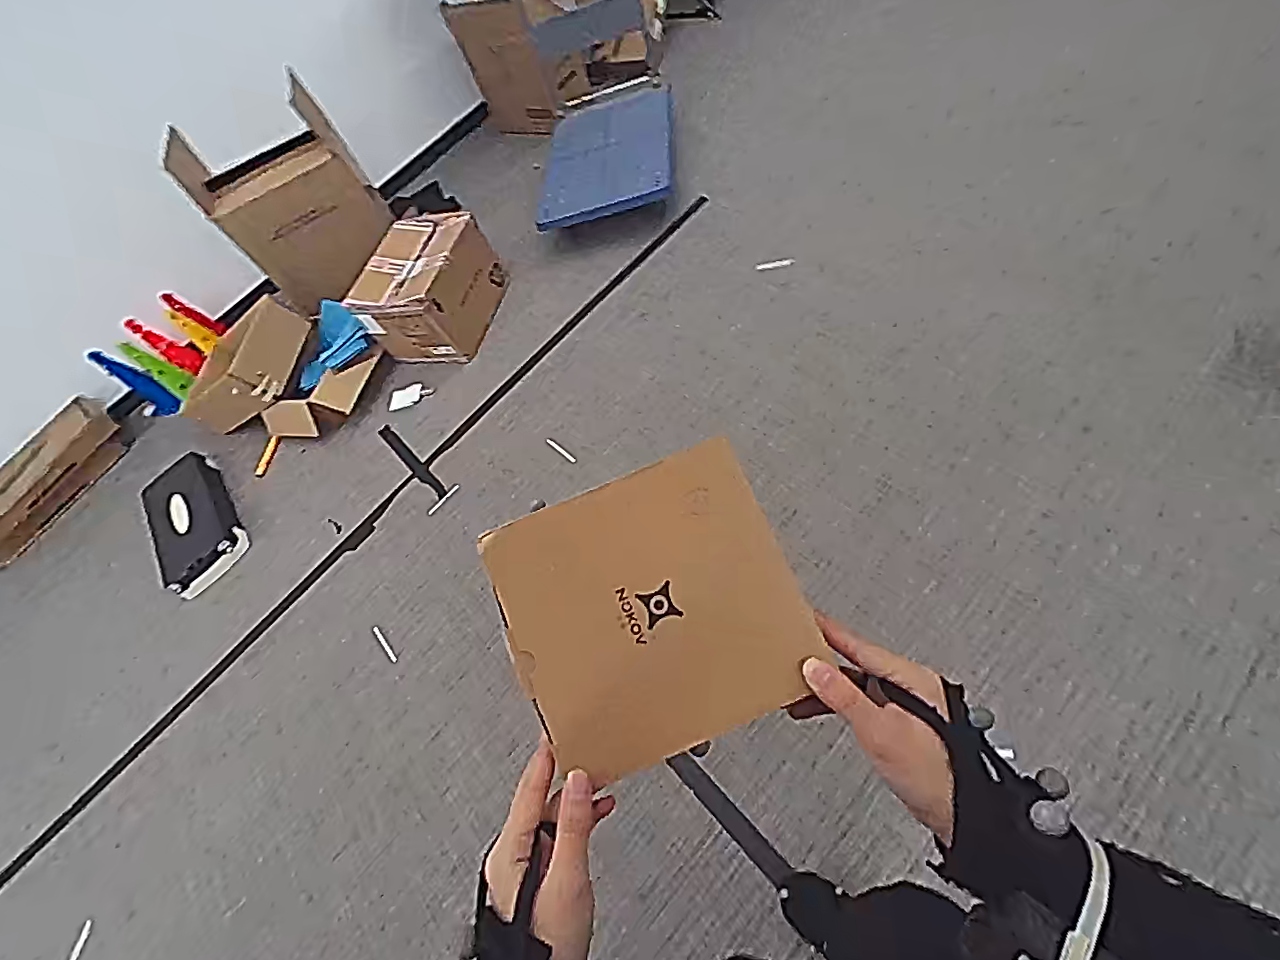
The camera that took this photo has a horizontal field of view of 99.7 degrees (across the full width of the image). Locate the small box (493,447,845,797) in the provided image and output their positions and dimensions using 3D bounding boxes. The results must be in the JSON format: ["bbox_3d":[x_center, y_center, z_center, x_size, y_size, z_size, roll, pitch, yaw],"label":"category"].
[{"bbox_3d":[0.018,0.095,0.411,0.179,0.176,0.168,-23,79,0],"label":"small box"}]
